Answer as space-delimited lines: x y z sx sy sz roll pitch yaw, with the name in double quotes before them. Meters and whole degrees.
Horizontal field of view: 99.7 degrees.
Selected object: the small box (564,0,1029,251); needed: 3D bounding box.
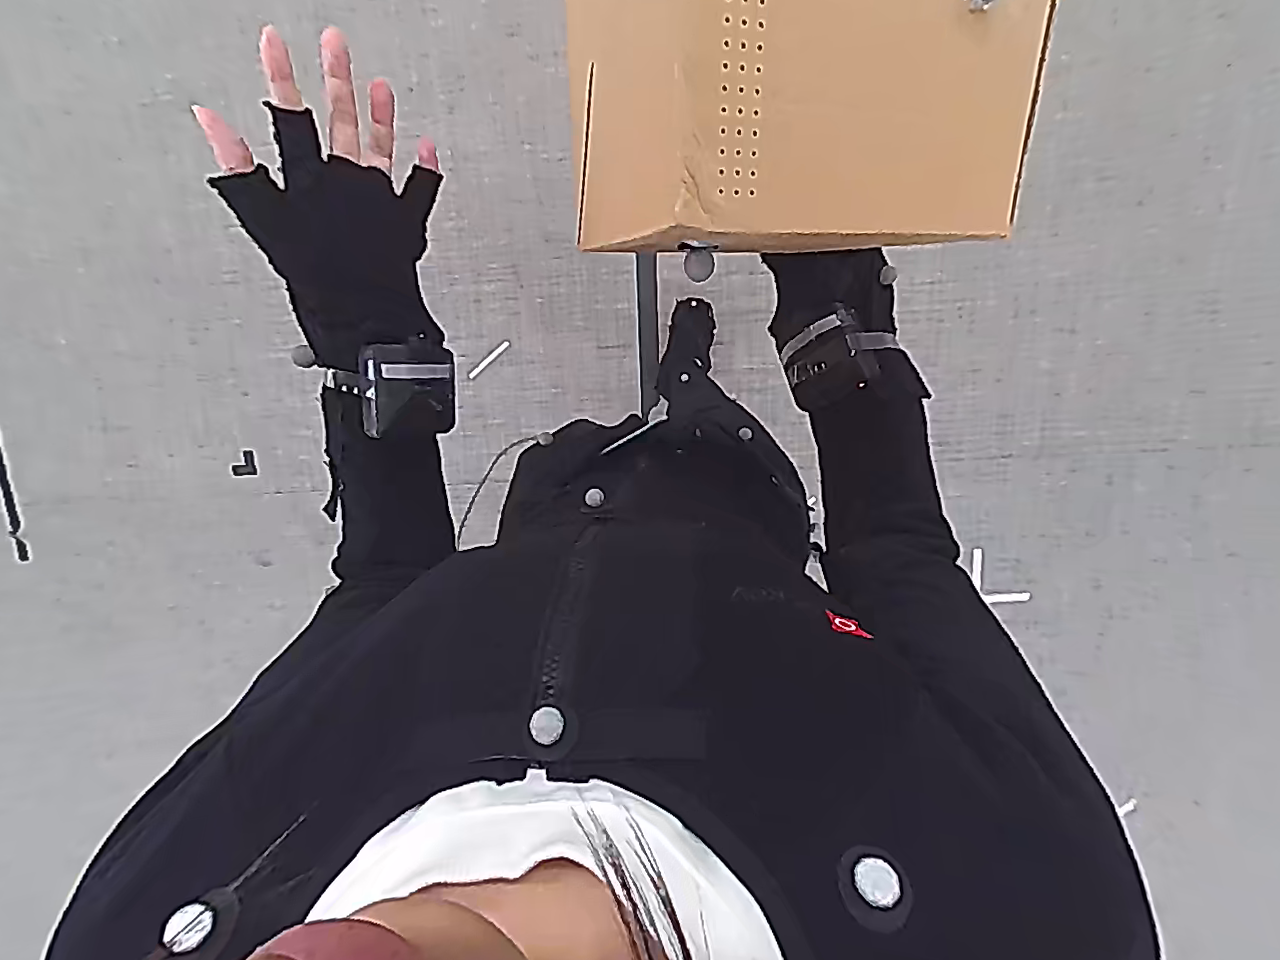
"small box" 0.058 -0.217 0.274 0.176 0.168 0.179 -7 111 -16
